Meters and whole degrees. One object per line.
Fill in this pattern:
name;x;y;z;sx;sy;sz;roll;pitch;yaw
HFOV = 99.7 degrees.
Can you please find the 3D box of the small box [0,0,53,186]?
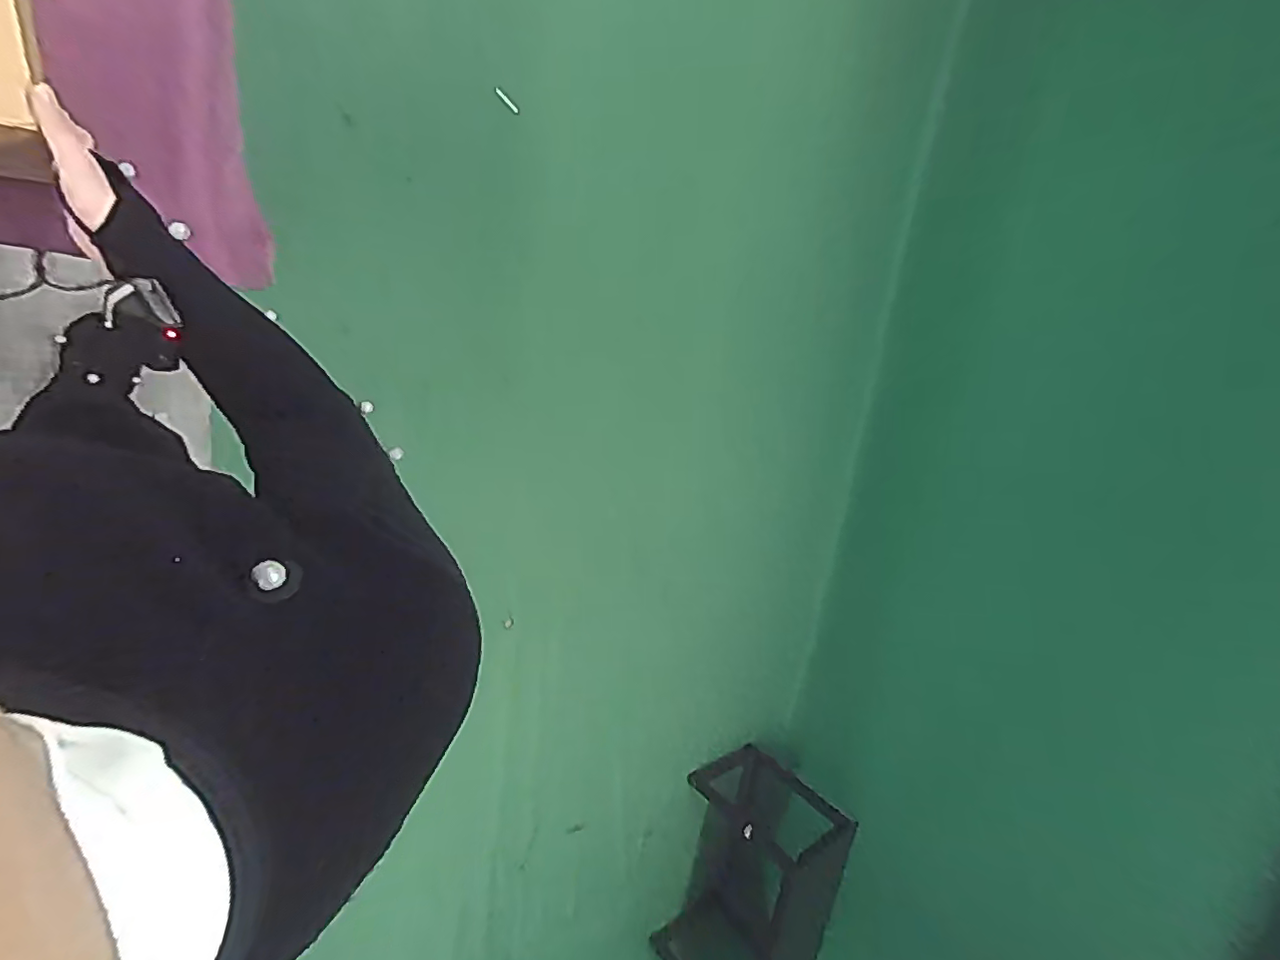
small box;-0.609;-0.364;0.431;0.168;0.176;0.179;-11;105;-42
